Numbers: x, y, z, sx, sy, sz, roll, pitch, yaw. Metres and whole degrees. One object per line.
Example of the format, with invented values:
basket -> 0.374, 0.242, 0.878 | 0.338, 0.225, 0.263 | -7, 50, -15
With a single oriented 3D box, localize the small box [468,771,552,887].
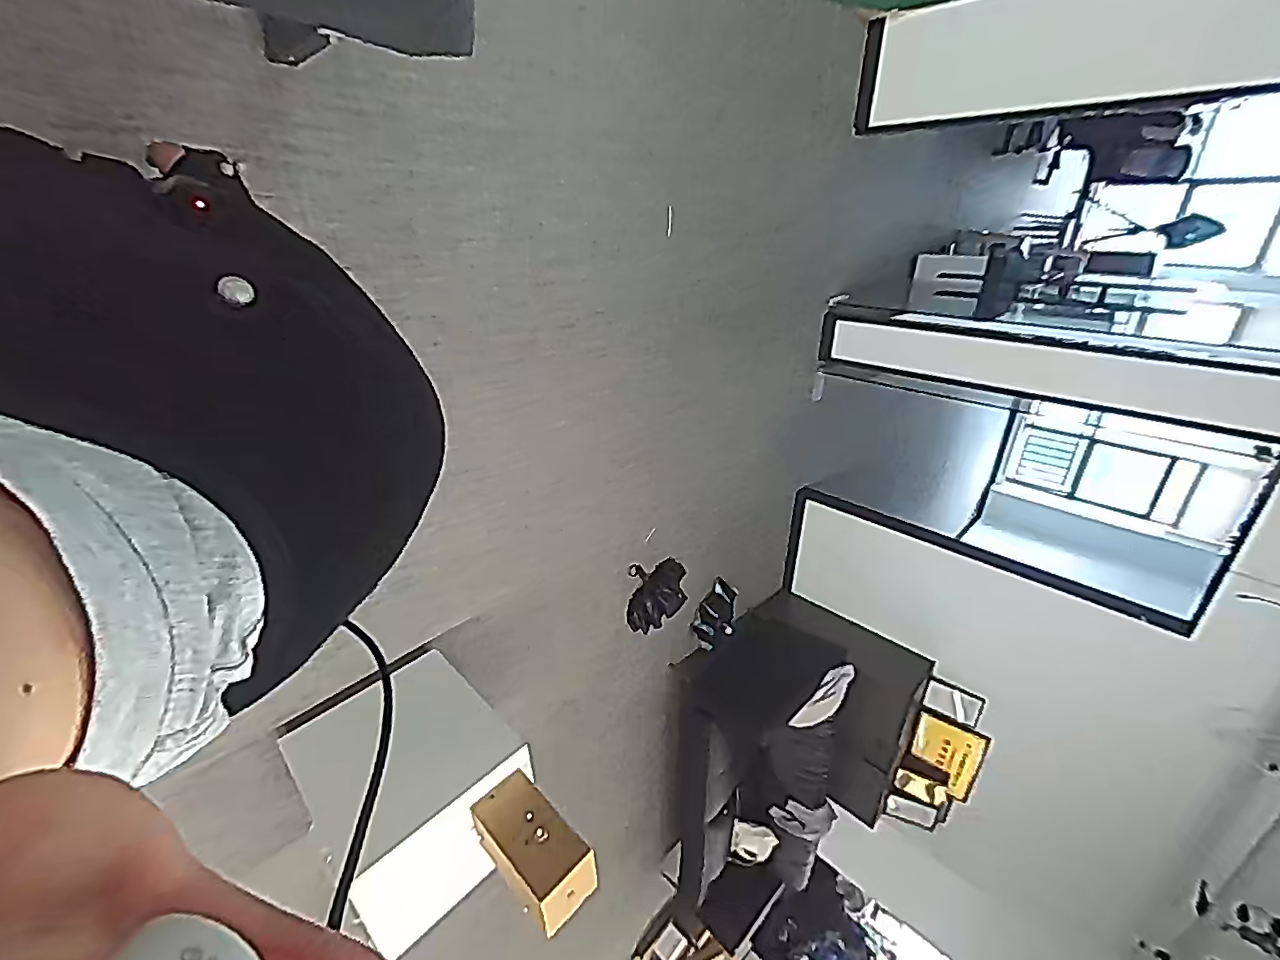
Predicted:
small box -> -0.356, 0.960, 1.501 | 0.168, 0.176, 0.179 | -26, 128, -38

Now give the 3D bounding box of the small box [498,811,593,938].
small box -> -0.242, 1.007, 1.395 | 0.168, 0.176, 0.179 | -29, 128, -38
